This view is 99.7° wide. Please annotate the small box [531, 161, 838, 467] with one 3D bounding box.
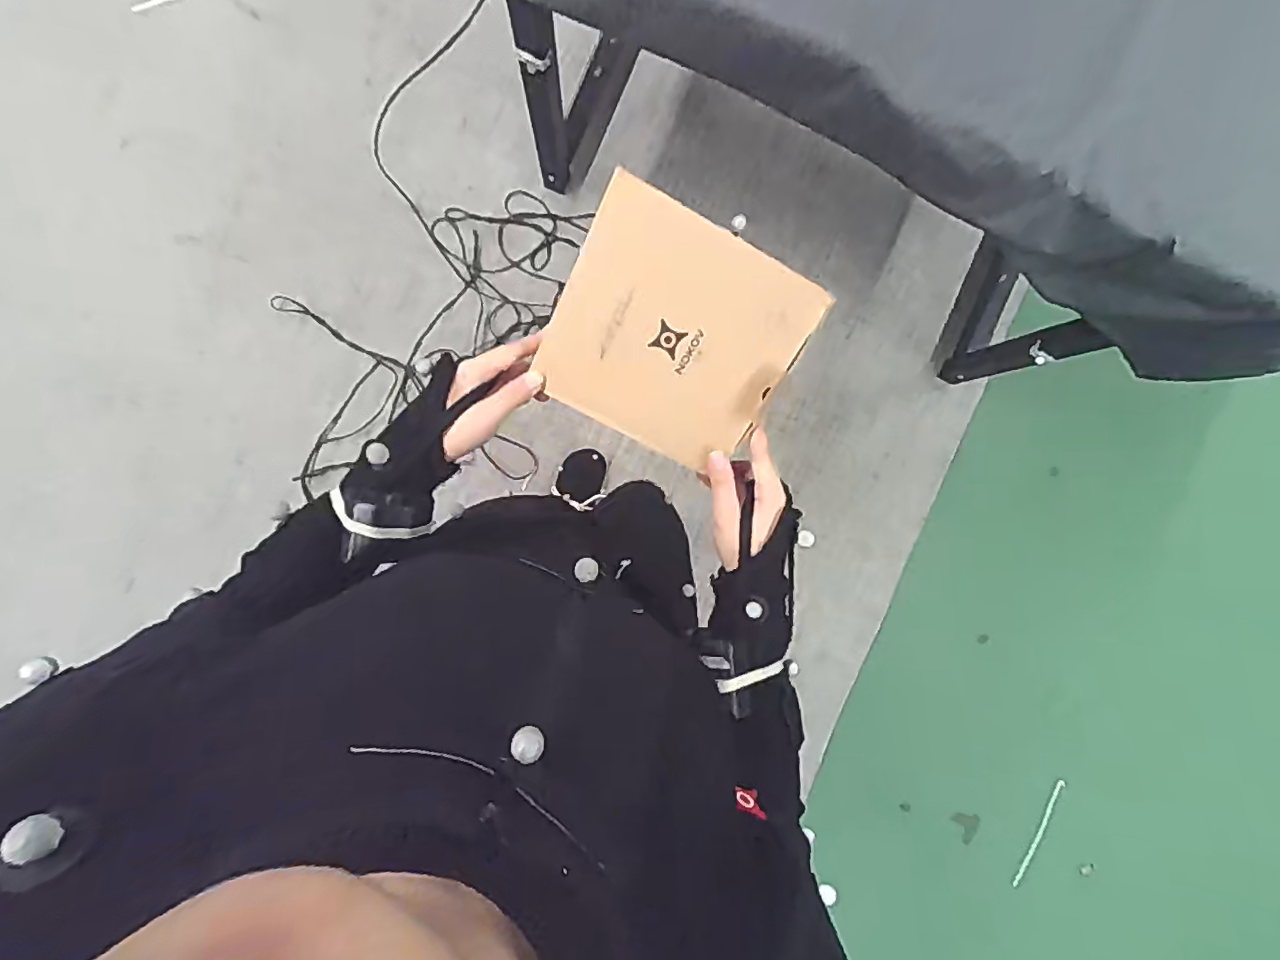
[{"bbox_3d":[0.033,-0.144,0.469,0.179,0.176,0.168,26,114,-7],"label":"small box"}]
